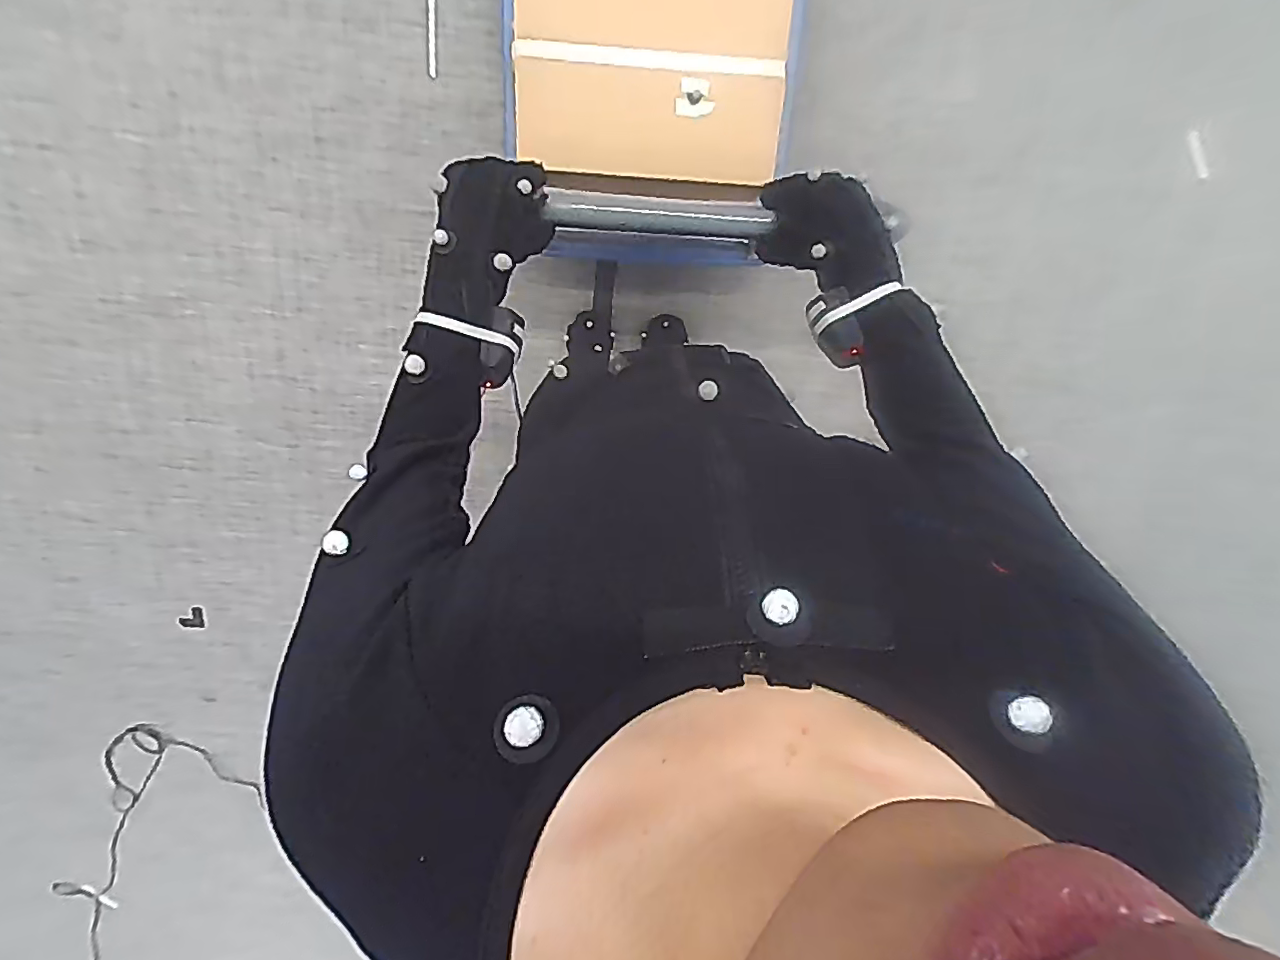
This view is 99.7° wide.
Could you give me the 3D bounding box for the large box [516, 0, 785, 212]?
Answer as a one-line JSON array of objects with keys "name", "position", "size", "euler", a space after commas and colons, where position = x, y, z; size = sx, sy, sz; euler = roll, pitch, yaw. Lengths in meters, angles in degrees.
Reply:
[{"name": "large box", "position": [0.005, -0.677, 0.959], "size": [0.408, 0.320, 0.320], "euler": [1, 108, -5]}]
